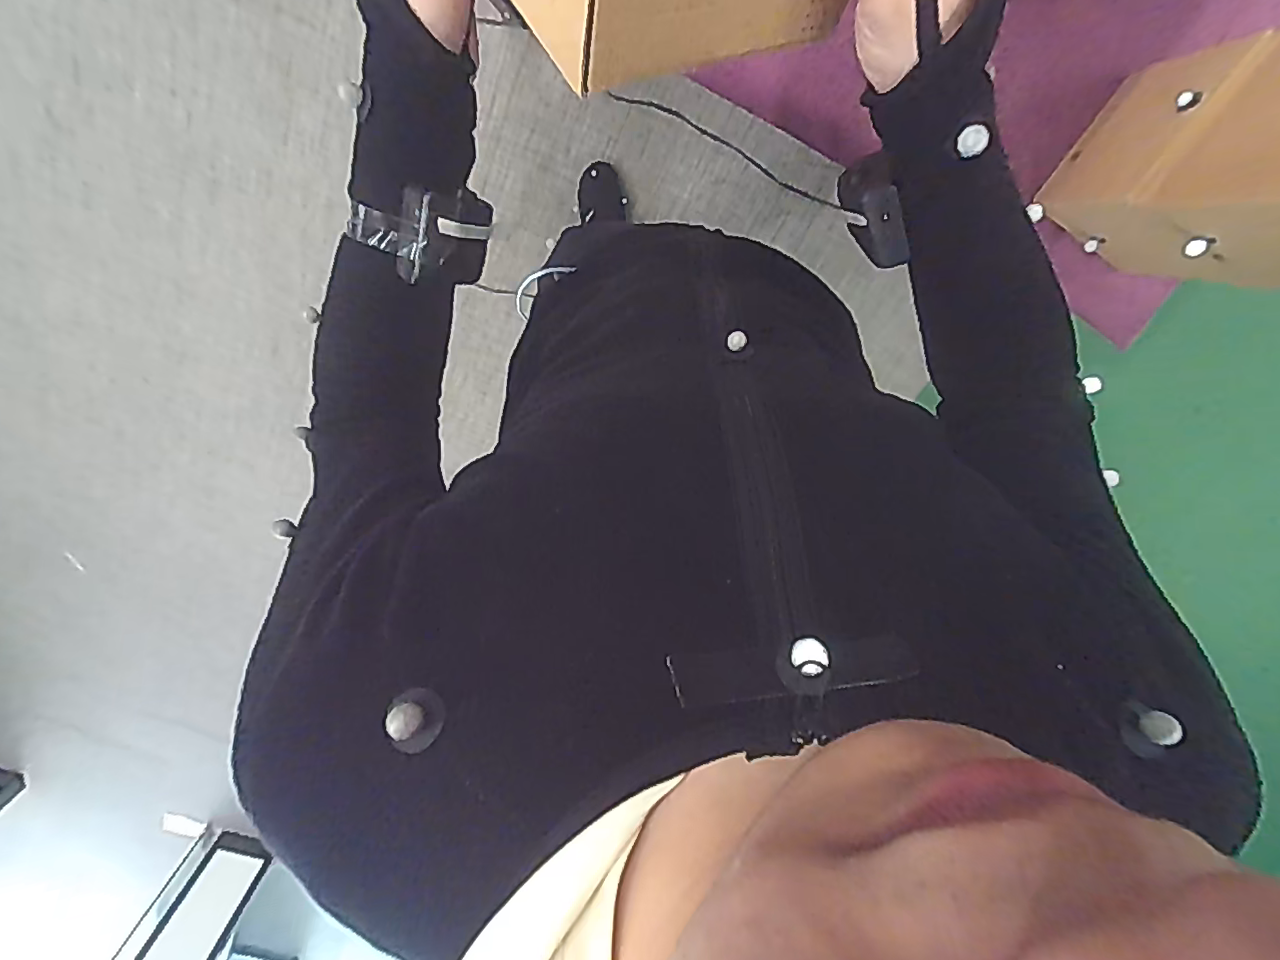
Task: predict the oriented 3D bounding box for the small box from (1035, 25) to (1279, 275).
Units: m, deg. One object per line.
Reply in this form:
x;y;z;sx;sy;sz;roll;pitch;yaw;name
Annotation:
0.627;-0.366;0.627;0.179;0.176;0.168;27;114;-12;small box

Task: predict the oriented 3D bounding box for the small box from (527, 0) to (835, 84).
0.018;-0.322;0.227;0.176;0.179;0.168;-27;78;-18;small box

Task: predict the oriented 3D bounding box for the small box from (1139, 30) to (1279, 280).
0.626;-0.295;0.480;0.168;0.176;0.179;28;114;-10;small box
